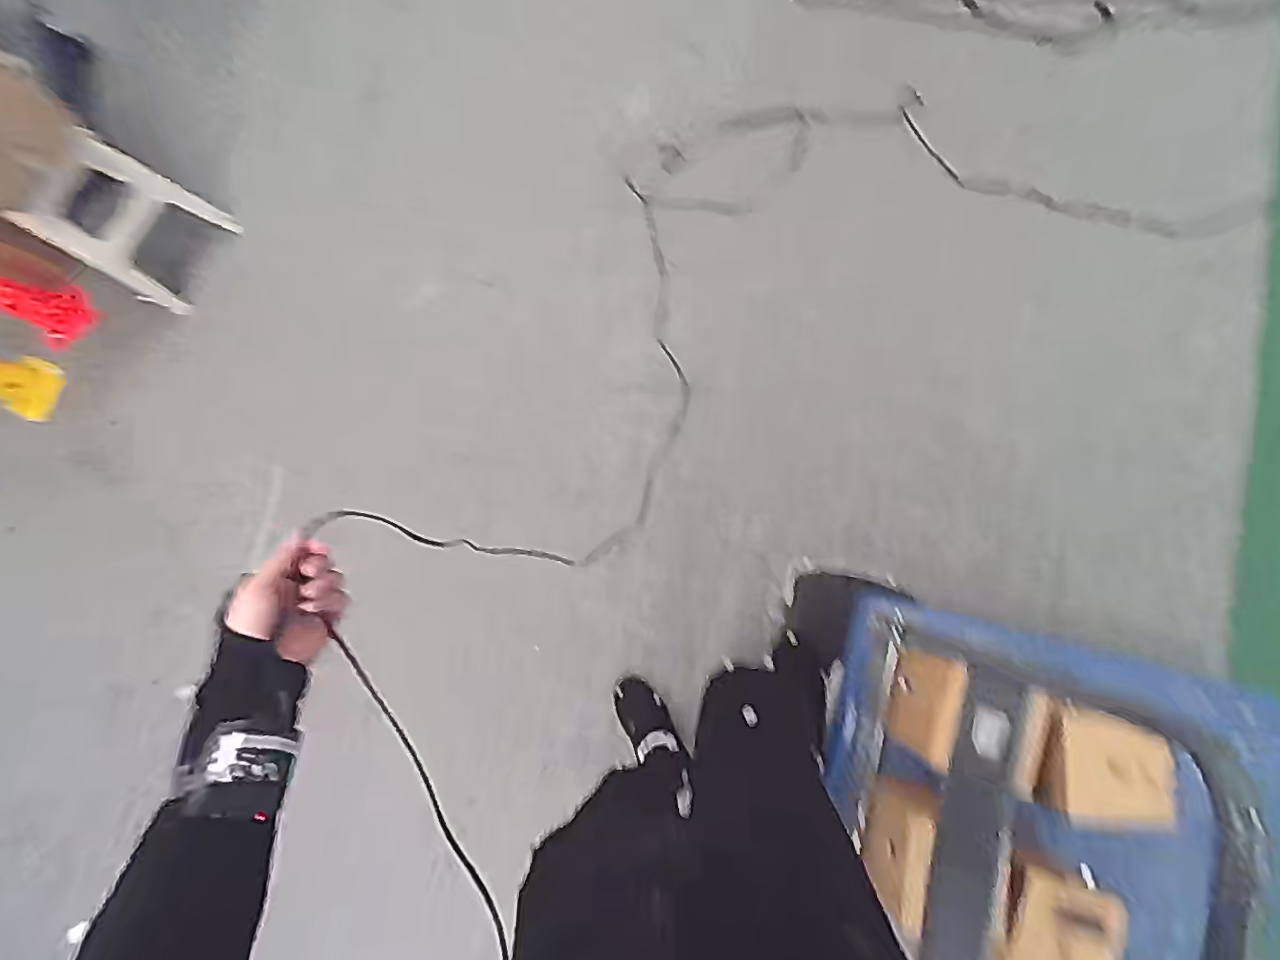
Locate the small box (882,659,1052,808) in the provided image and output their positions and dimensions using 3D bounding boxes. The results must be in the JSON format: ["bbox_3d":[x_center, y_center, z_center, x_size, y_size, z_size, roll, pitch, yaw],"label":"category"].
[{"bbox_3d":[0.567,0.434,0.959,0.179,0.176,0.168,19,84,2],"label":"small box"}]

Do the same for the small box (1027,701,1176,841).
[{"bbox_3d":[0.772,0.499,0.951,0.179,0.176,0.168,3,84,0],"label":"small box"}]
